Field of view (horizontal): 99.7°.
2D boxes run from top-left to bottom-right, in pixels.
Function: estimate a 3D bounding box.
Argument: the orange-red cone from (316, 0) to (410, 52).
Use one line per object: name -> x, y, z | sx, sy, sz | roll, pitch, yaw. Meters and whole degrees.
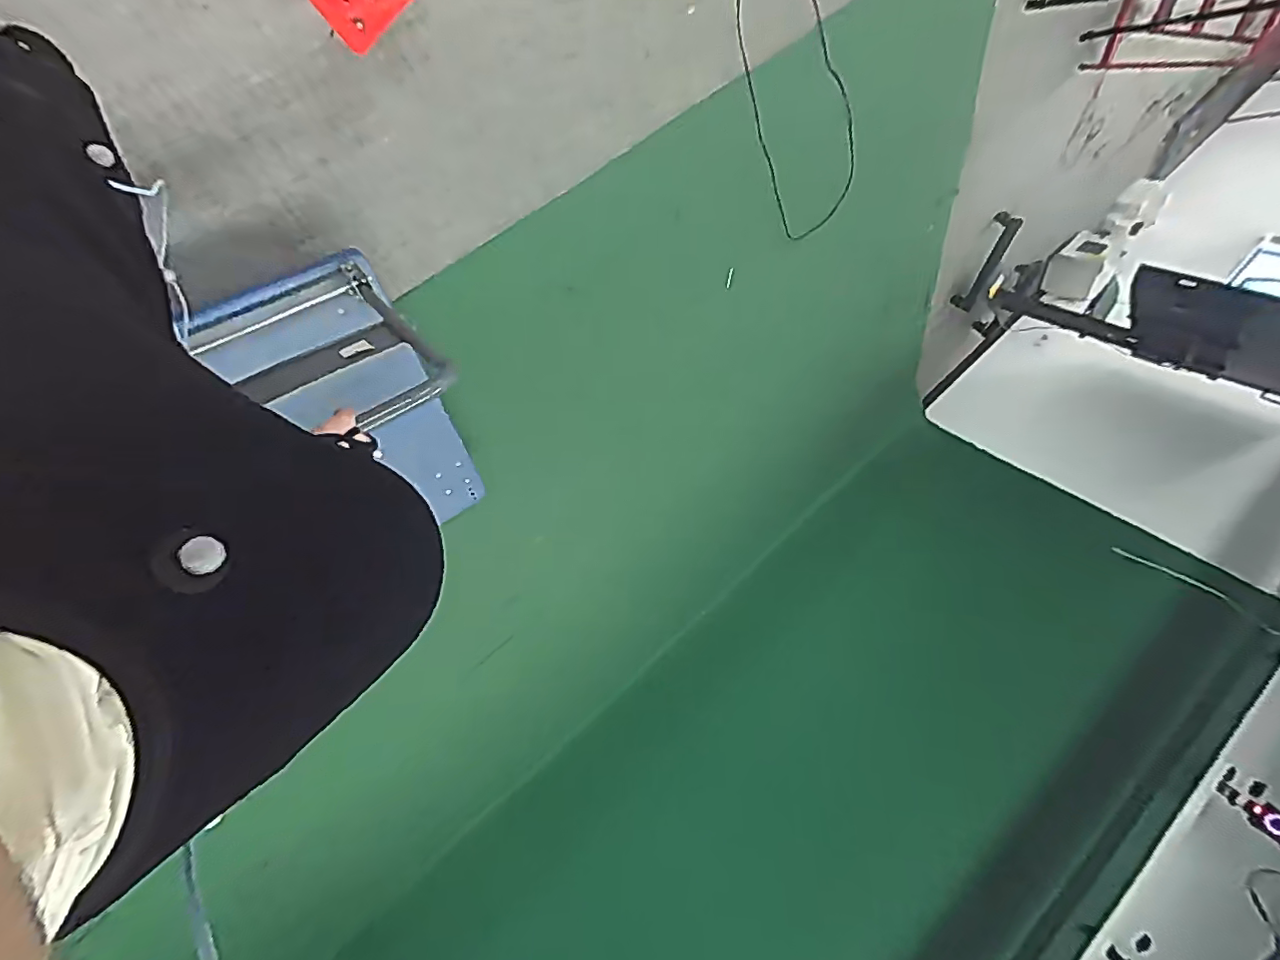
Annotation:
orange-red cone -> -0.488, -0.952, 1.014 | 0.199, 0.360, 0.198 | -50, 145, -2
